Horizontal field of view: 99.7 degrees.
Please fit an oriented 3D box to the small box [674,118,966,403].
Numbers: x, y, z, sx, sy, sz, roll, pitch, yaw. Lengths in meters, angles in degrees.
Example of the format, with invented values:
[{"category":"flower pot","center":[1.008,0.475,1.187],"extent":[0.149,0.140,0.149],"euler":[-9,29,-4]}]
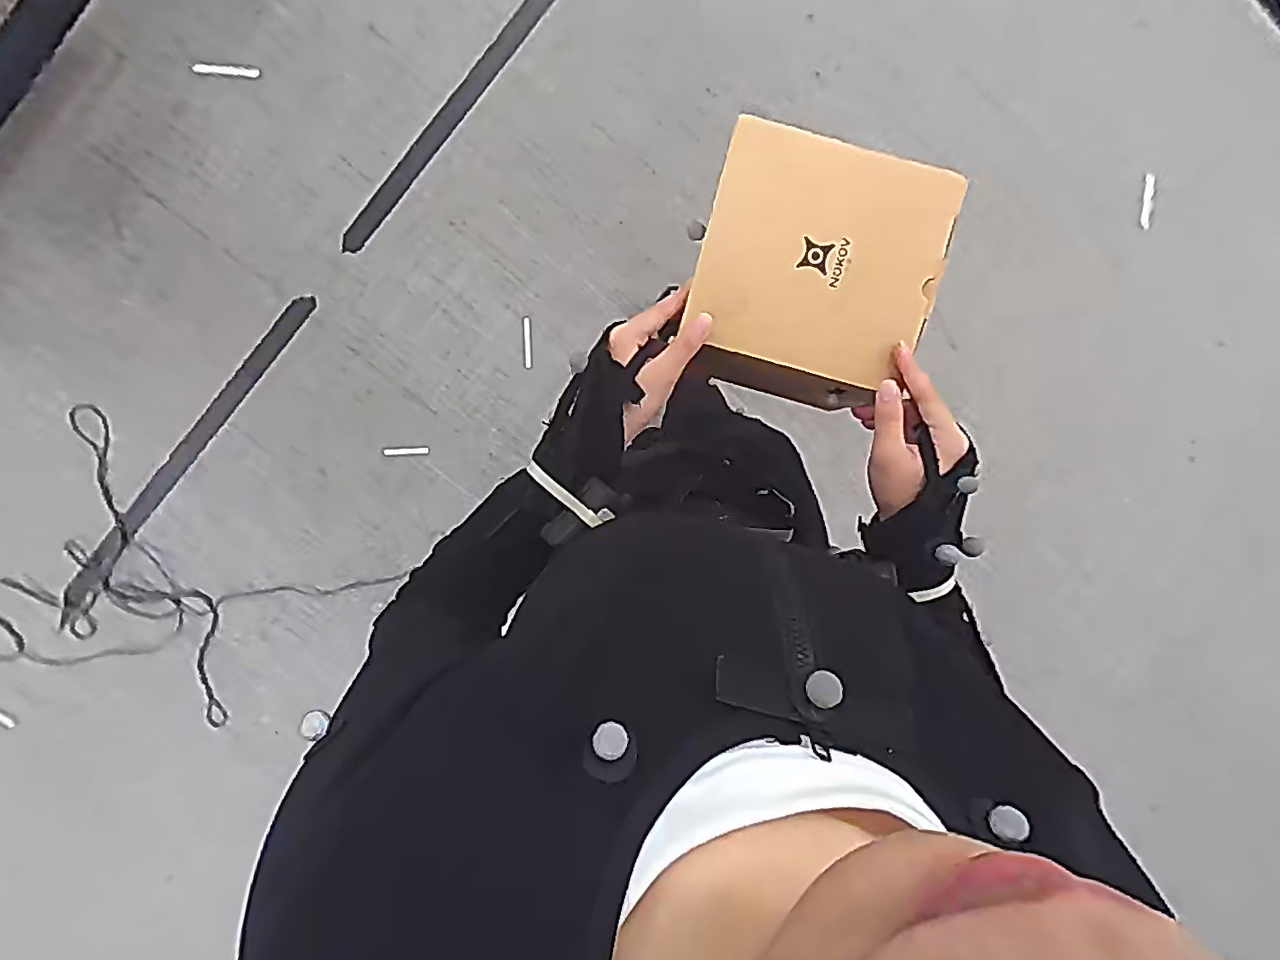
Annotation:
[{"category":"small box","center":[0.133,-0.168,0.475],"extent":[0.179,0.176,0.168],"euler":[15,95,0]}]
